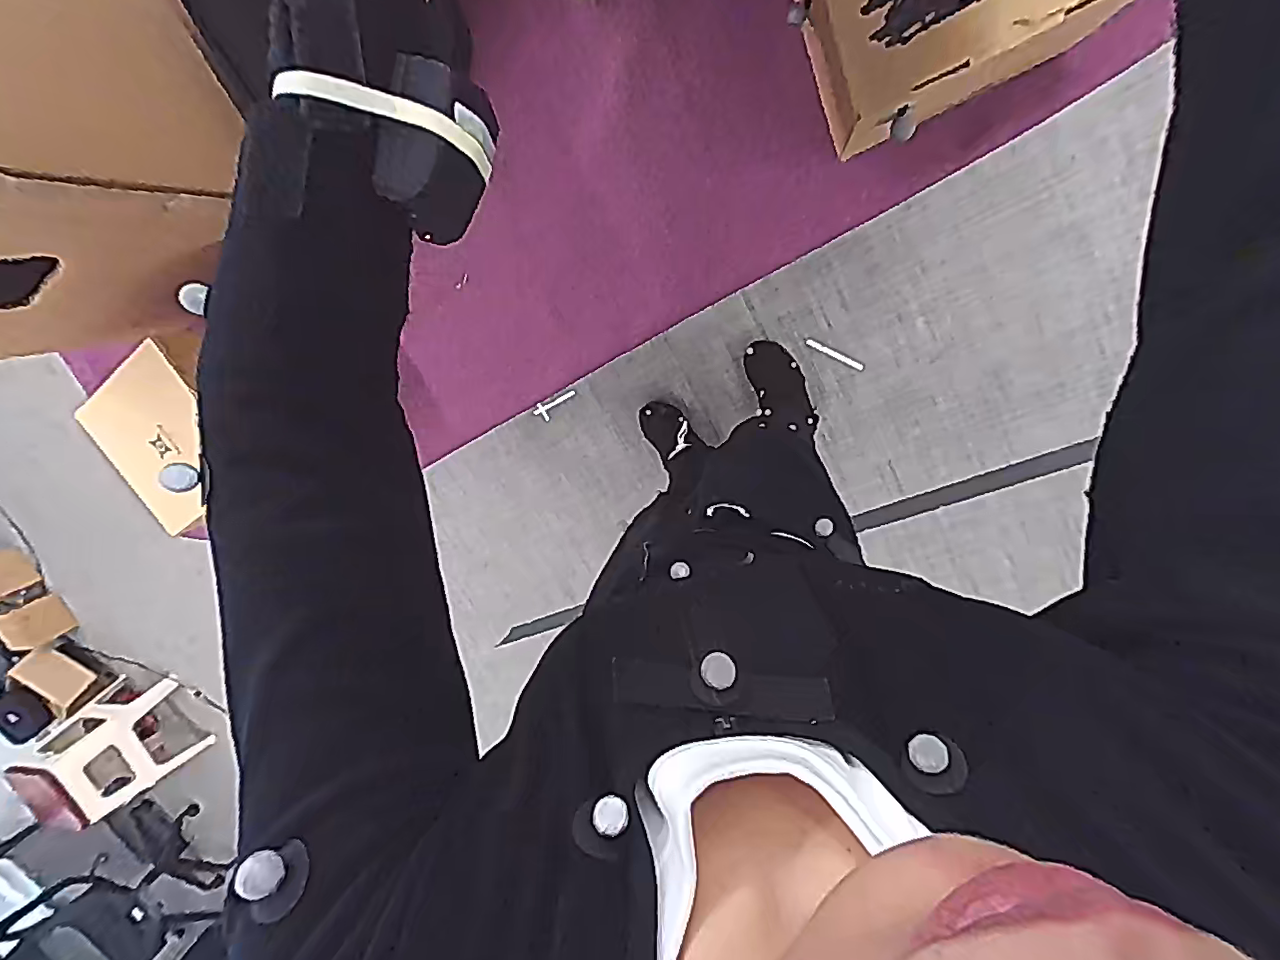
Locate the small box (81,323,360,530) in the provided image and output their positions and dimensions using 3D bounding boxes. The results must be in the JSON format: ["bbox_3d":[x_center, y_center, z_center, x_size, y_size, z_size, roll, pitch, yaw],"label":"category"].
[{"bbox_3d":[-0.484,-0.070,0.647,0.179,0.176,0.168,-26,102,23],"label":"small box"}]

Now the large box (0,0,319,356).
[{"bbox_3d":[-0.611,-0.365,0.482,0.320,0.320,0.408,-25,106,24],"label":"large box"}]
